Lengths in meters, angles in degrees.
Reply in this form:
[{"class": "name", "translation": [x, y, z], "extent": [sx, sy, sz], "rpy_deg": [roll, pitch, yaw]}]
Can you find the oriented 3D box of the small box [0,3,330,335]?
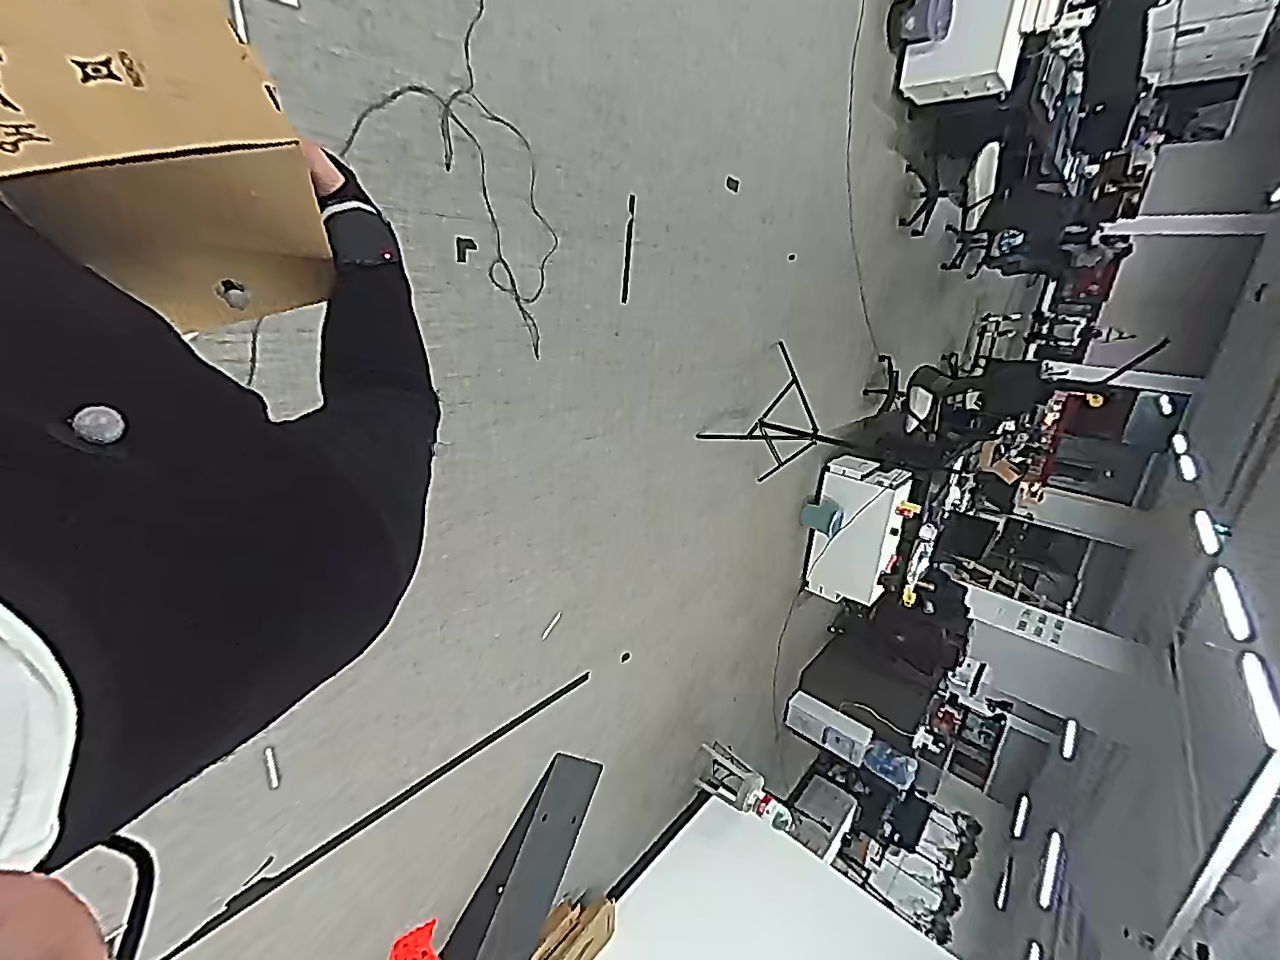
[{"class": "small box", "translation": [-0.389, -0.254, 0.460], "extent": [0.179, 0.168, 0.176], "rpy_deg": [-27, 167, -27]}]
